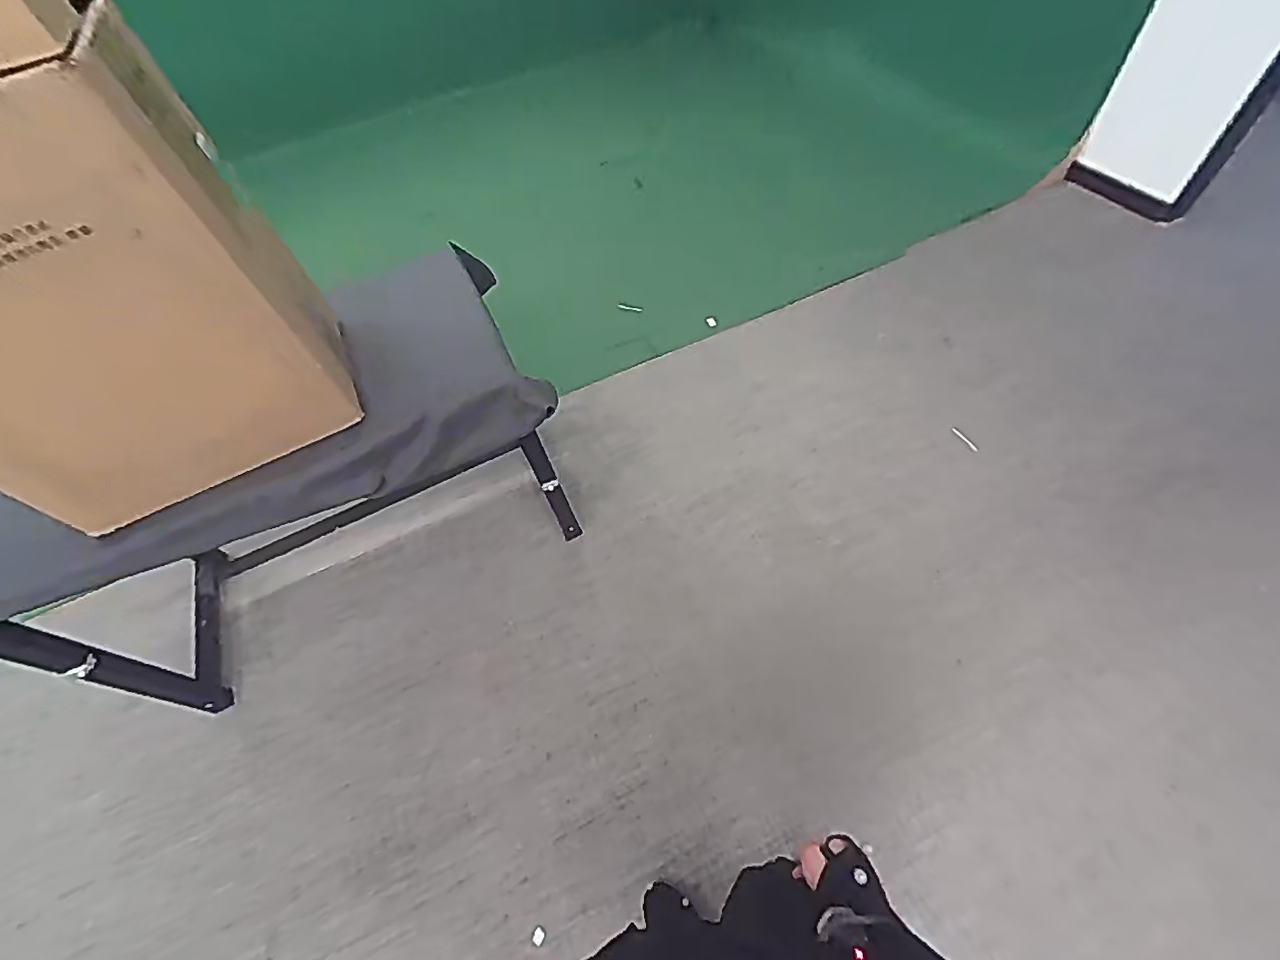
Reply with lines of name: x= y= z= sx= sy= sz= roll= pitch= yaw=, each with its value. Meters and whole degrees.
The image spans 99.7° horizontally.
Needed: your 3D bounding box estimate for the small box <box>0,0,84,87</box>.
small box: x=-0.764 y=-0.542 z=0.581 sx=0.168 sy=0.176 sz=0.179 roll=-26 pitch=57 yaw=-11
